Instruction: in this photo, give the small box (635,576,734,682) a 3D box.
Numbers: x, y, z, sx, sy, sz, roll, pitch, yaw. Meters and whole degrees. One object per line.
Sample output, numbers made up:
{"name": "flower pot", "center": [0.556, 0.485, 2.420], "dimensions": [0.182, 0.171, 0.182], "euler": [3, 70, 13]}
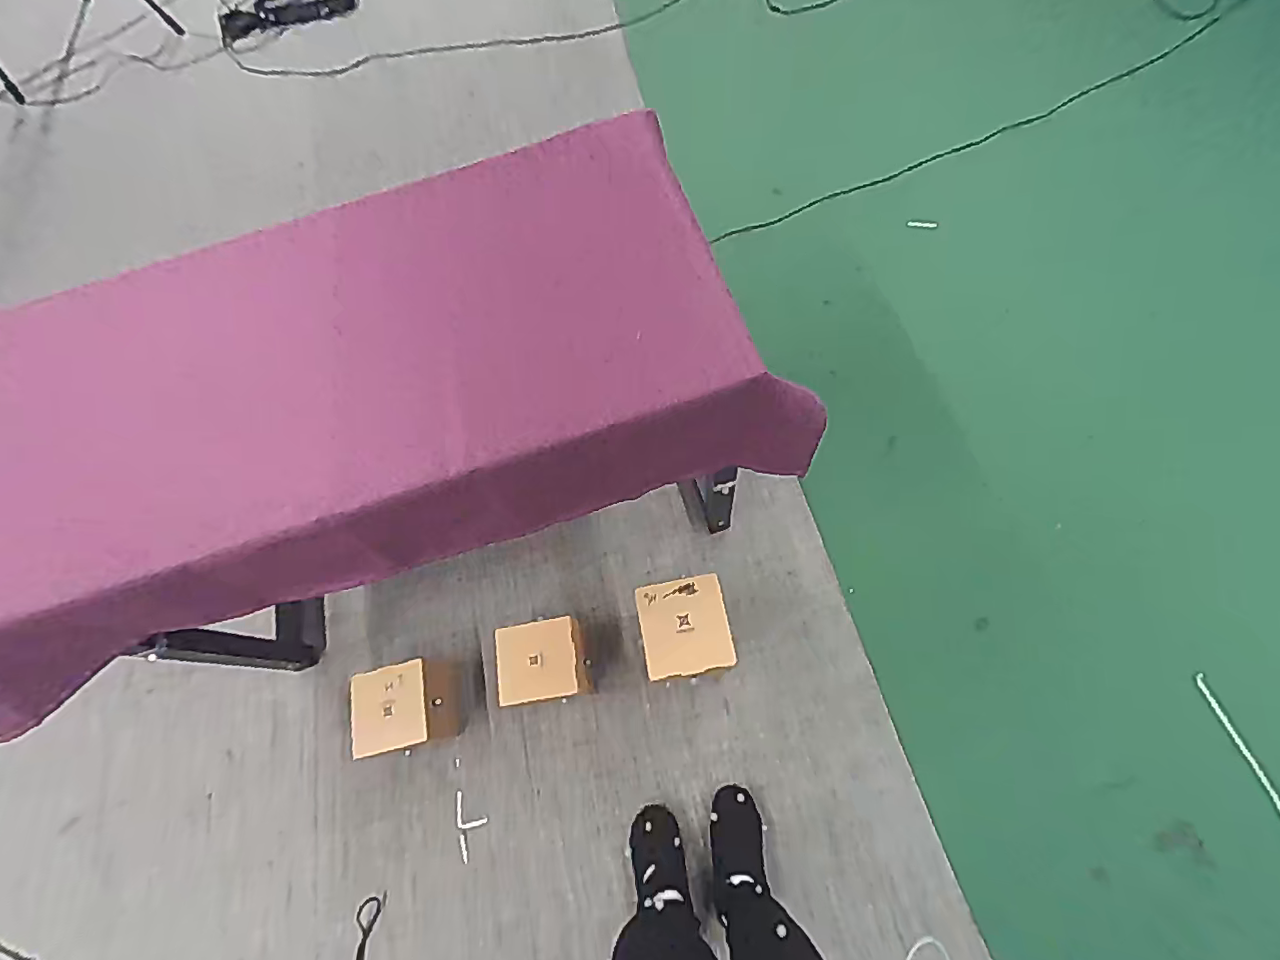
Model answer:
{"name": "small box", "center": [0.090, 0.306, 1.093], "dimensions": [0.168, 0.176, 0.179], "euler": [-11, 68, 2]}
